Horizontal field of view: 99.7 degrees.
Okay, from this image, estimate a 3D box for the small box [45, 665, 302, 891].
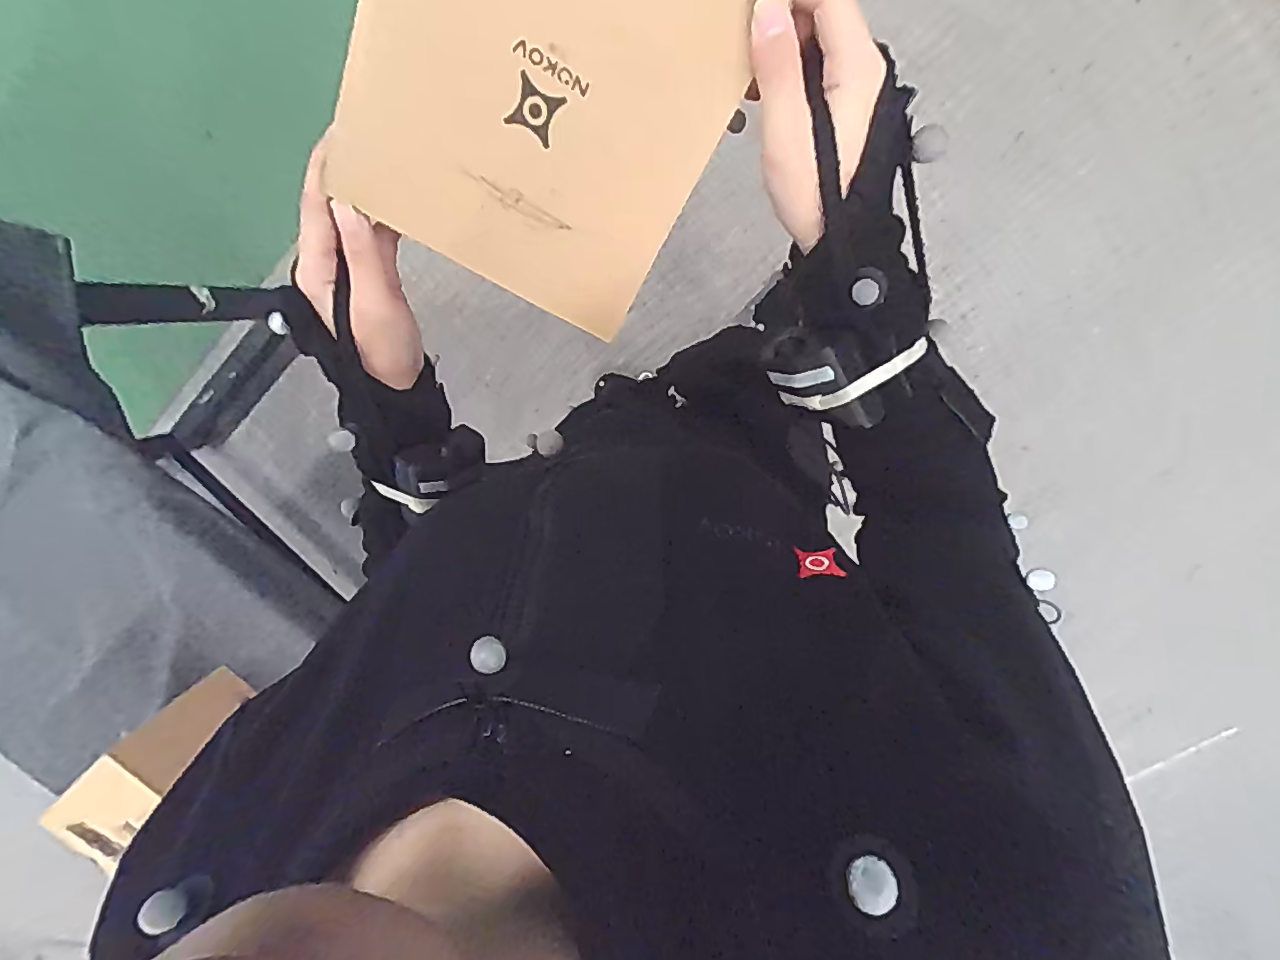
[{"bbox_3d":[-0.612,0.393,0.733,0.179,0.176,0.168,-40,100,15],"label":"small box"}]
